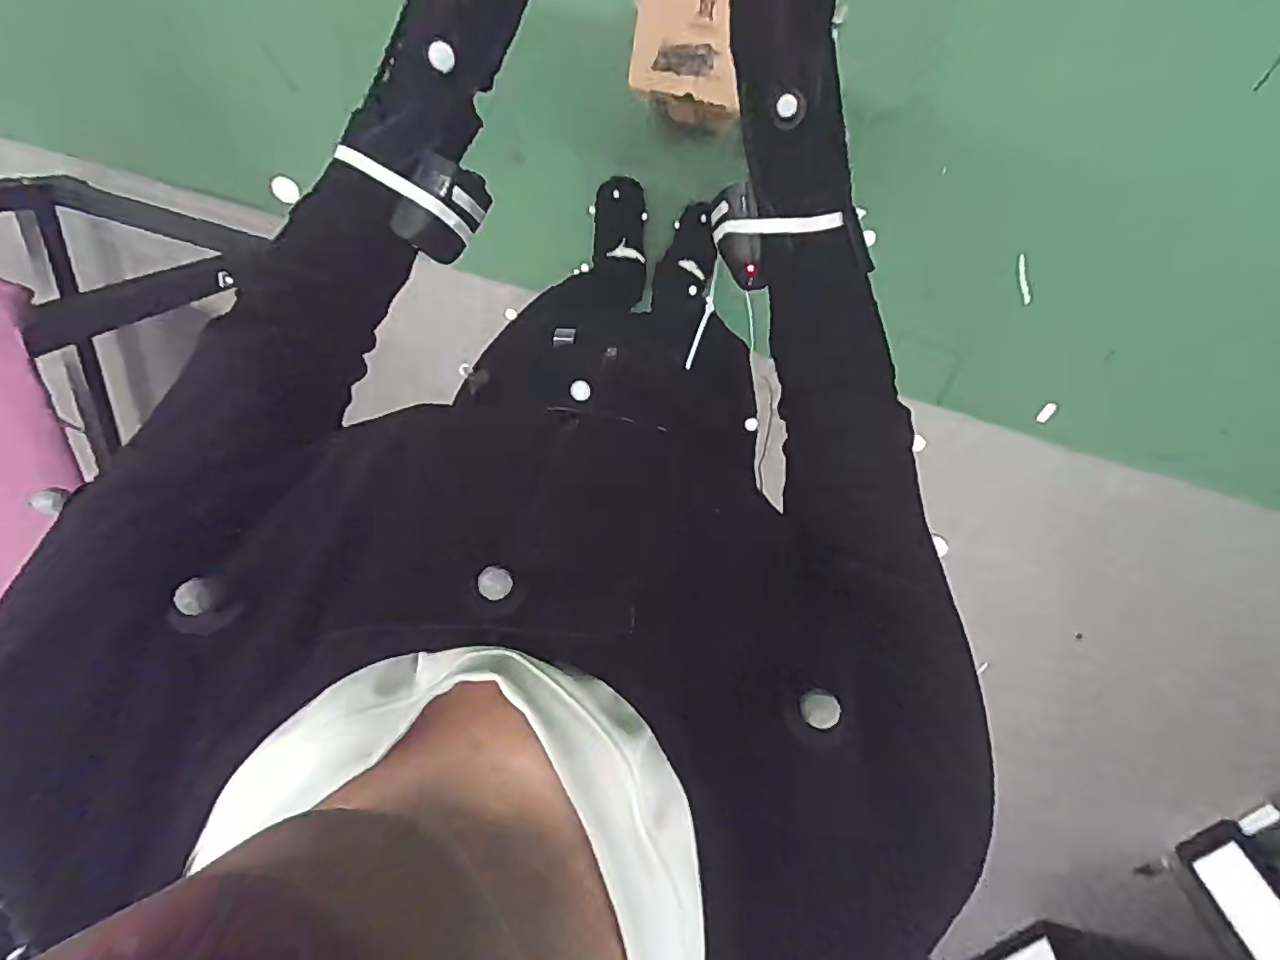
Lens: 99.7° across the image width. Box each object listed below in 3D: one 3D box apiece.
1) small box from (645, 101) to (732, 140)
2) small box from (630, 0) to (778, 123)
[{"bbox_3d":[0.116,-0.776,1.035,0.168,0.176,0.179,16,122,-4],"label":"small box"},{"bbox_3d":[0.089,-0.614,0.749,0.168,0.176,0.179,12,121,-2],"label":"small box"}]
